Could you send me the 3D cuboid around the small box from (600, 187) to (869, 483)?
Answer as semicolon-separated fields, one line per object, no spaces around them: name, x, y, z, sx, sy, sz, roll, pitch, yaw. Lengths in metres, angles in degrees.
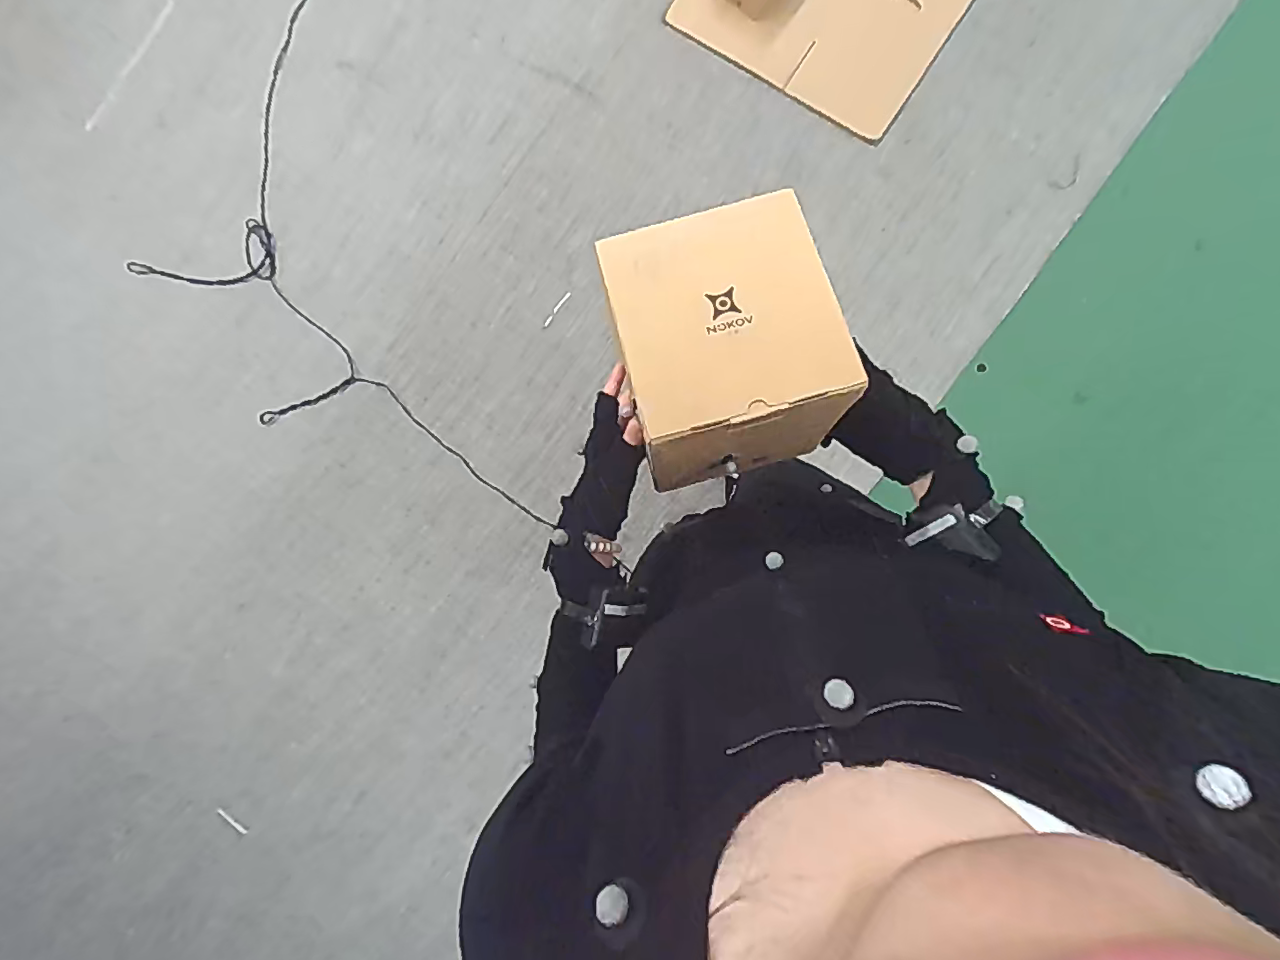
small box;0.069;-0.114;0.485;0.168;0.176;0.179;-16;77;0
